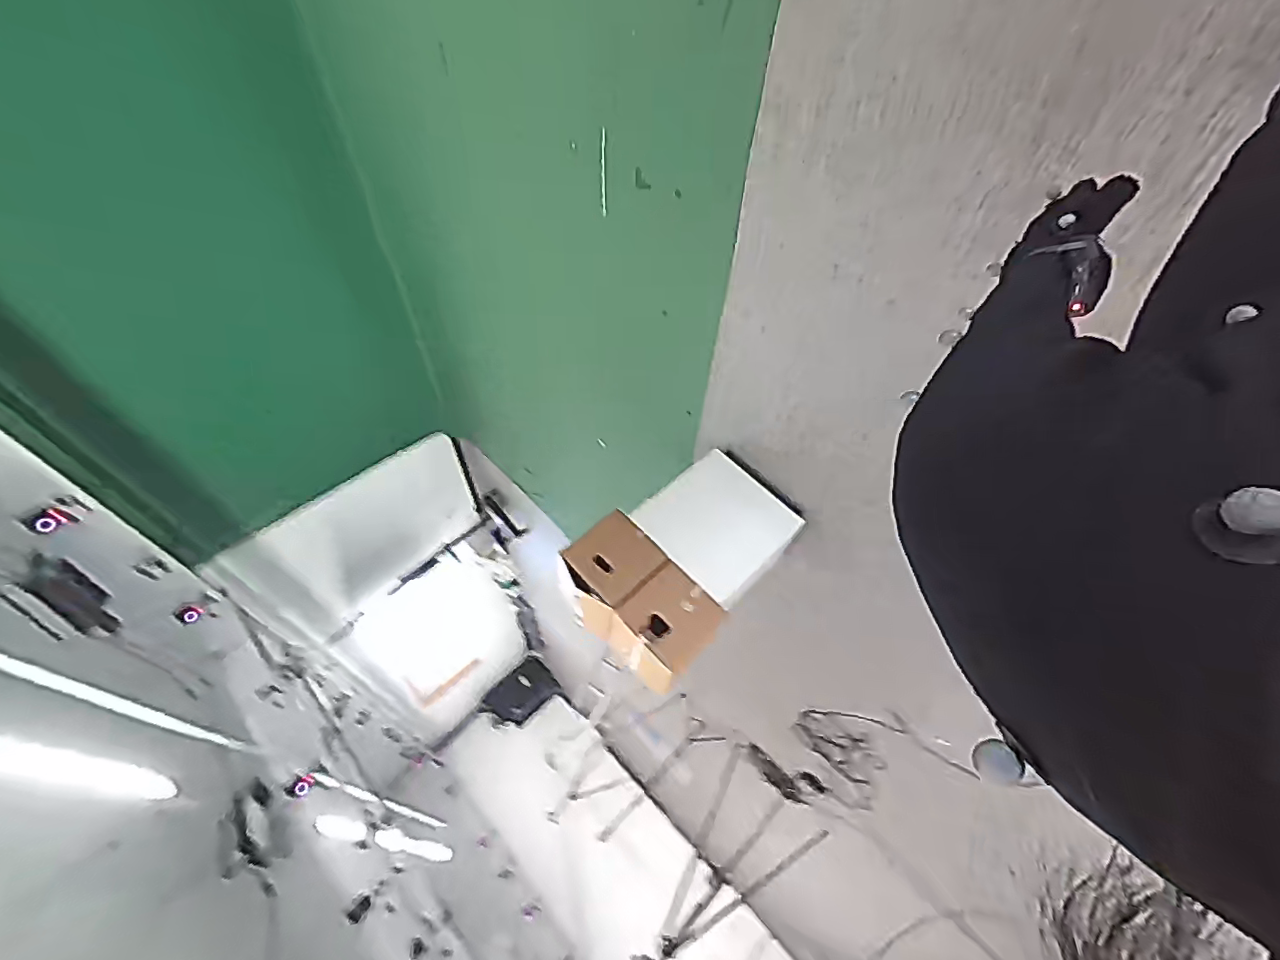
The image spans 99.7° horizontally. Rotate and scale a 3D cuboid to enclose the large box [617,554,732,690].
[{"bbox_3d":[0.124,0.567,2.150,0.320,0.320,0.408,43,153,21],"label":"large box"}]
